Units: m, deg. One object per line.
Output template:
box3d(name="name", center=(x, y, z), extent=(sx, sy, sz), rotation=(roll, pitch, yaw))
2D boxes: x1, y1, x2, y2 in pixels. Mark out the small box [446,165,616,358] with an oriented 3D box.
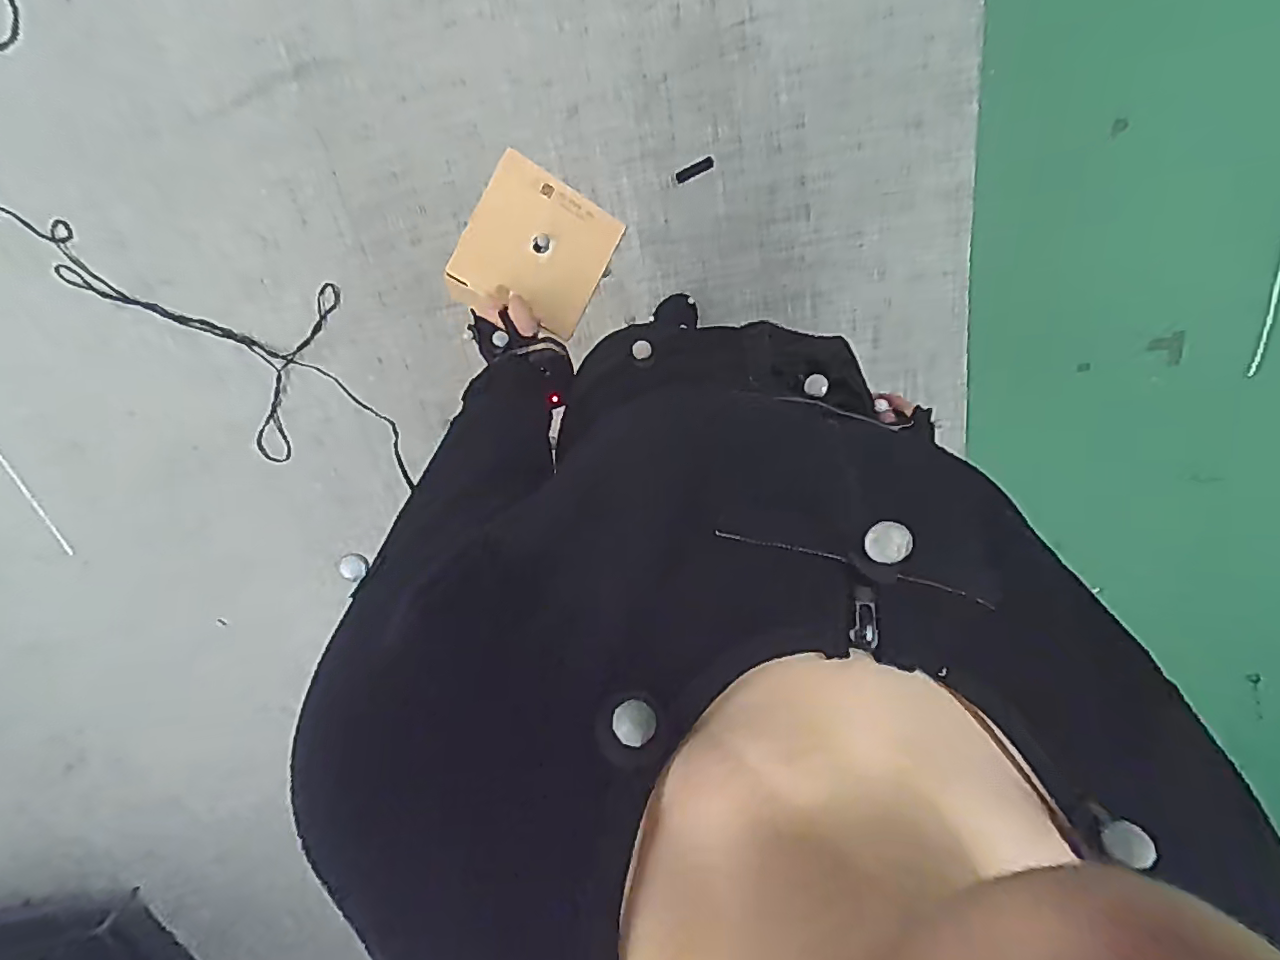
box3d(name="small box", center=(-0.151, -0.287, 0.740), extent=(0.168, 0.179, 0.176), rotation=(26, 90, -19))
